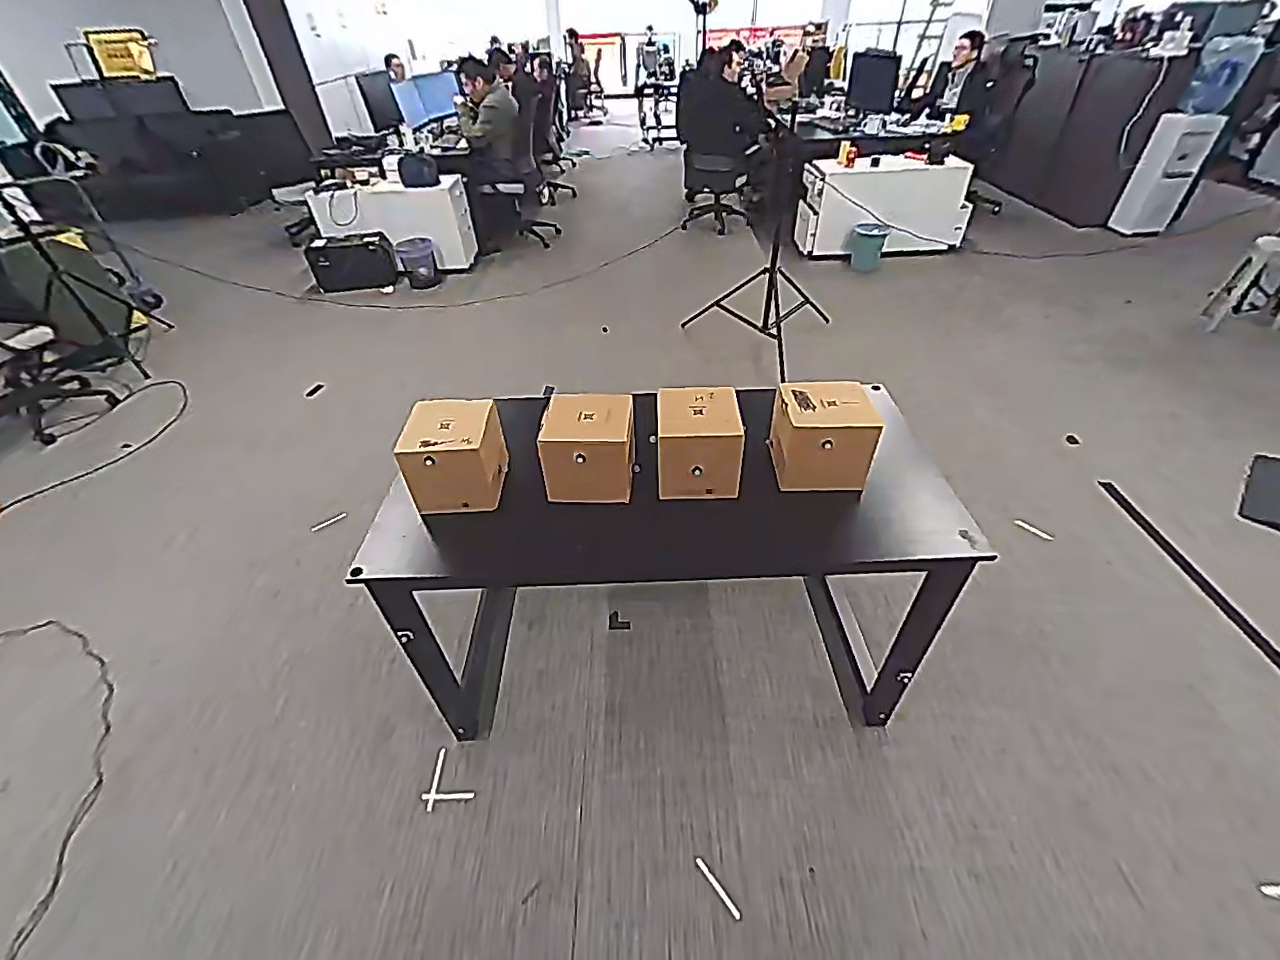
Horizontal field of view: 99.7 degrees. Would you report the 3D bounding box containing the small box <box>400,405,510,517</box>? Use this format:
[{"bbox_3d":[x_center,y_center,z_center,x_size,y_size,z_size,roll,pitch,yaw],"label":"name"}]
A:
[{"bbox_3d":[-0.381,-0.041,1.153,0.168,0.176,0.179,-3,41,0],"label":"small box"}]

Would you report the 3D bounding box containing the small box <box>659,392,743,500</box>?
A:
[{"bbox_3d":[0.124,-0.070,1.156,0.168,0.176,0.179,-1,41,2],"label":"small box"}]

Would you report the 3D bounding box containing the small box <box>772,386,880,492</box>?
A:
[{"bbox_3d":[0.384,-0.086,1.158,0.179,0.176,0.168,0,41,2],"label":"small box"}]
